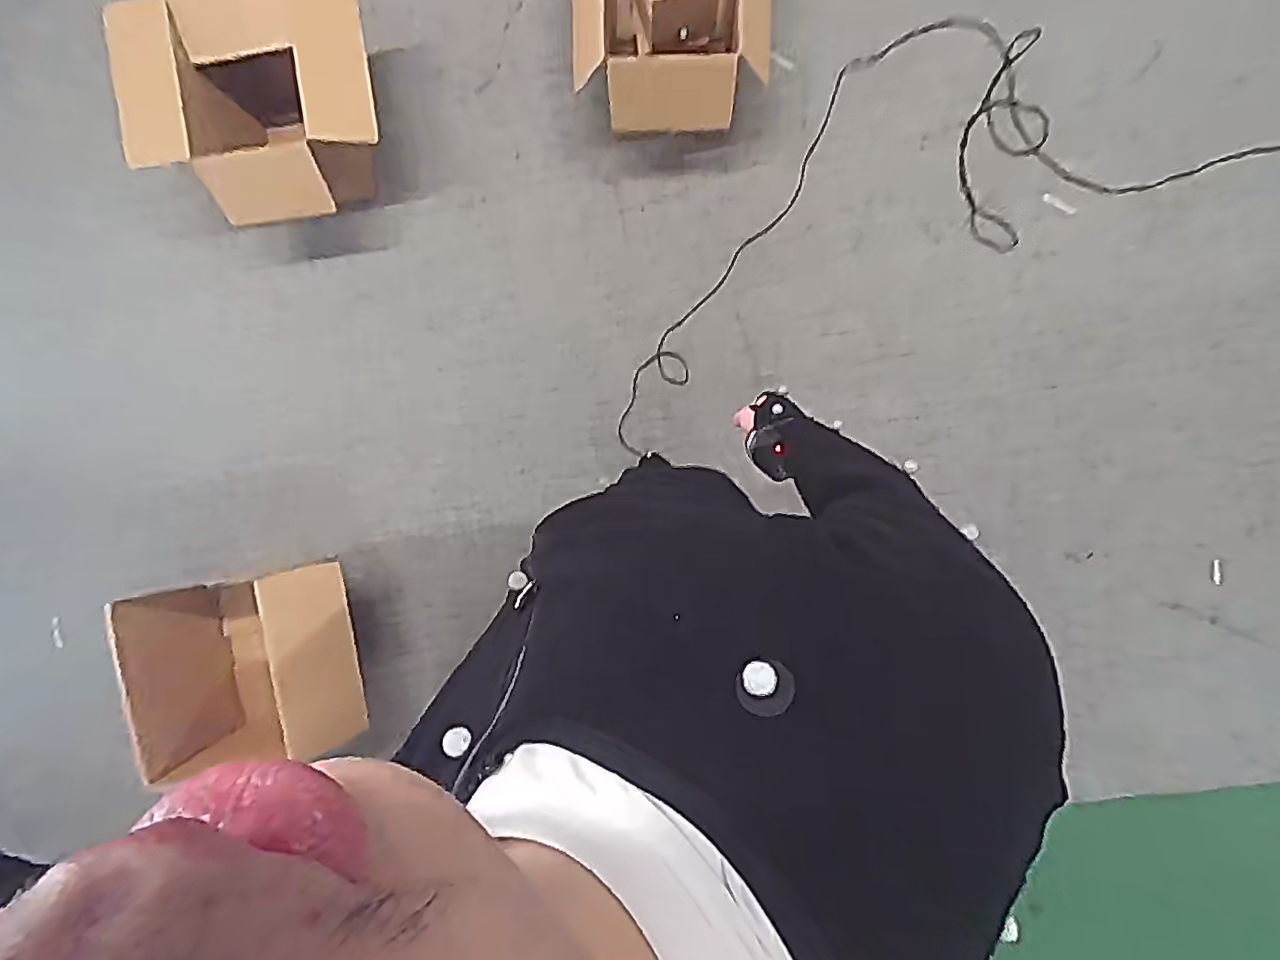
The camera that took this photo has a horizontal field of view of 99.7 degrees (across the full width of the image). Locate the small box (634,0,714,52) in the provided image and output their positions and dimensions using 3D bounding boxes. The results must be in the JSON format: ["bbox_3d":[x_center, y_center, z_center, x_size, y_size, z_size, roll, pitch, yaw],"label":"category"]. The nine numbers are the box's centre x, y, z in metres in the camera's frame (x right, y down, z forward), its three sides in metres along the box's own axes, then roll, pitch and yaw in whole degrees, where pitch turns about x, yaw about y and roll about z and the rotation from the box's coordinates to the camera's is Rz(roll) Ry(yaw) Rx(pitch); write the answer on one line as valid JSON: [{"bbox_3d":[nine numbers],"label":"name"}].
[{"bbox_3d":[0.070,-1.142,1.235,0.168,0.176,0.179,-15,91,4],"label":"small box"}]
